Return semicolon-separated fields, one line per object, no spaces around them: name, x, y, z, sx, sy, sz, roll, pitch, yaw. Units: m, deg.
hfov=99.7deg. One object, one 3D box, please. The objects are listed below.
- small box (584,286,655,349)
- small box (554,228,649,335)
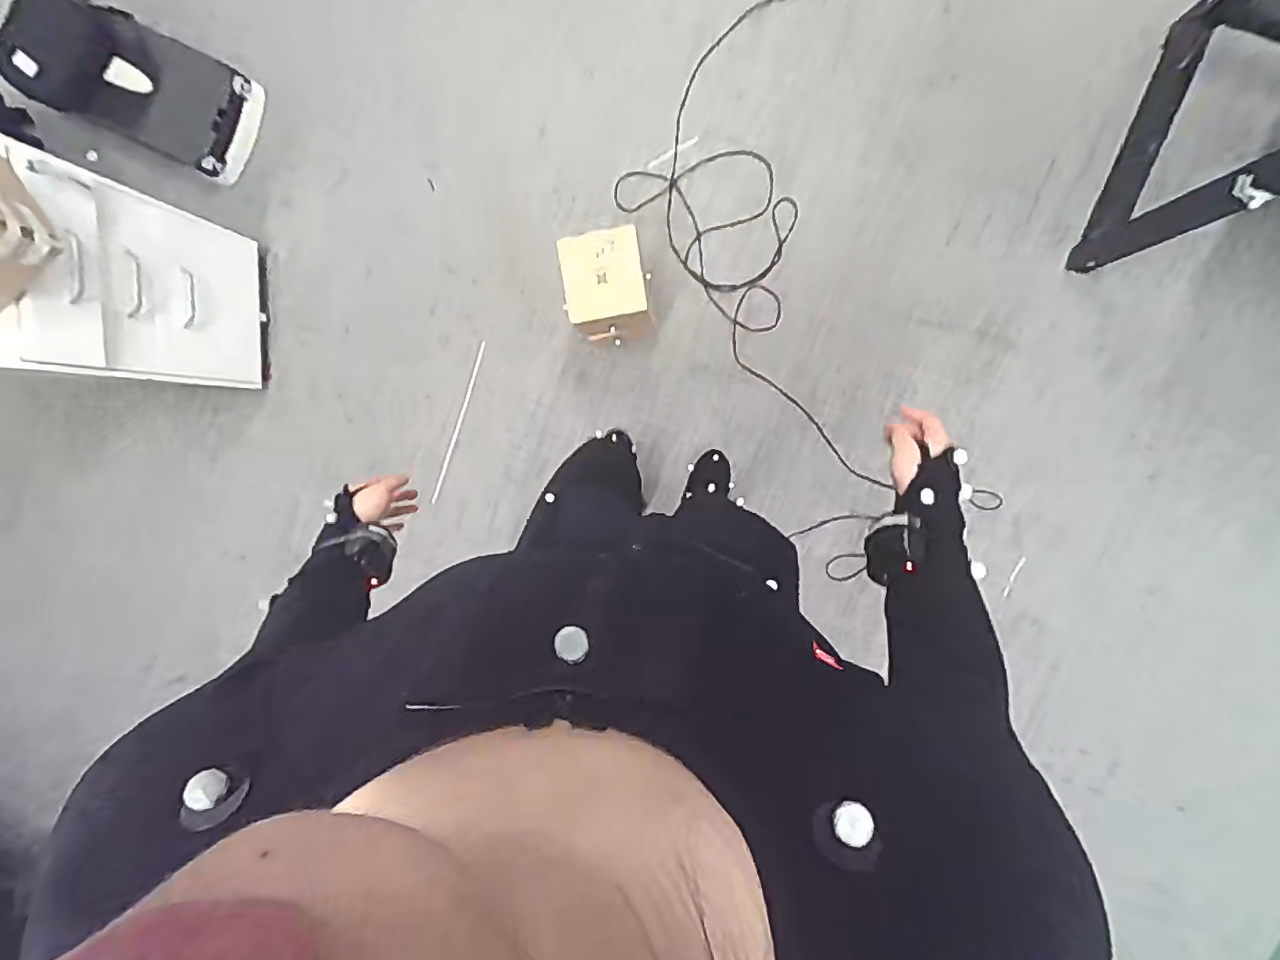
small box;-0.064;-0.437;1.354;0.168;0.176;0.179;-14;94;7
small box;-0.076;-0.424;1.190;0.168;0.176;0.179;-9;94;6
